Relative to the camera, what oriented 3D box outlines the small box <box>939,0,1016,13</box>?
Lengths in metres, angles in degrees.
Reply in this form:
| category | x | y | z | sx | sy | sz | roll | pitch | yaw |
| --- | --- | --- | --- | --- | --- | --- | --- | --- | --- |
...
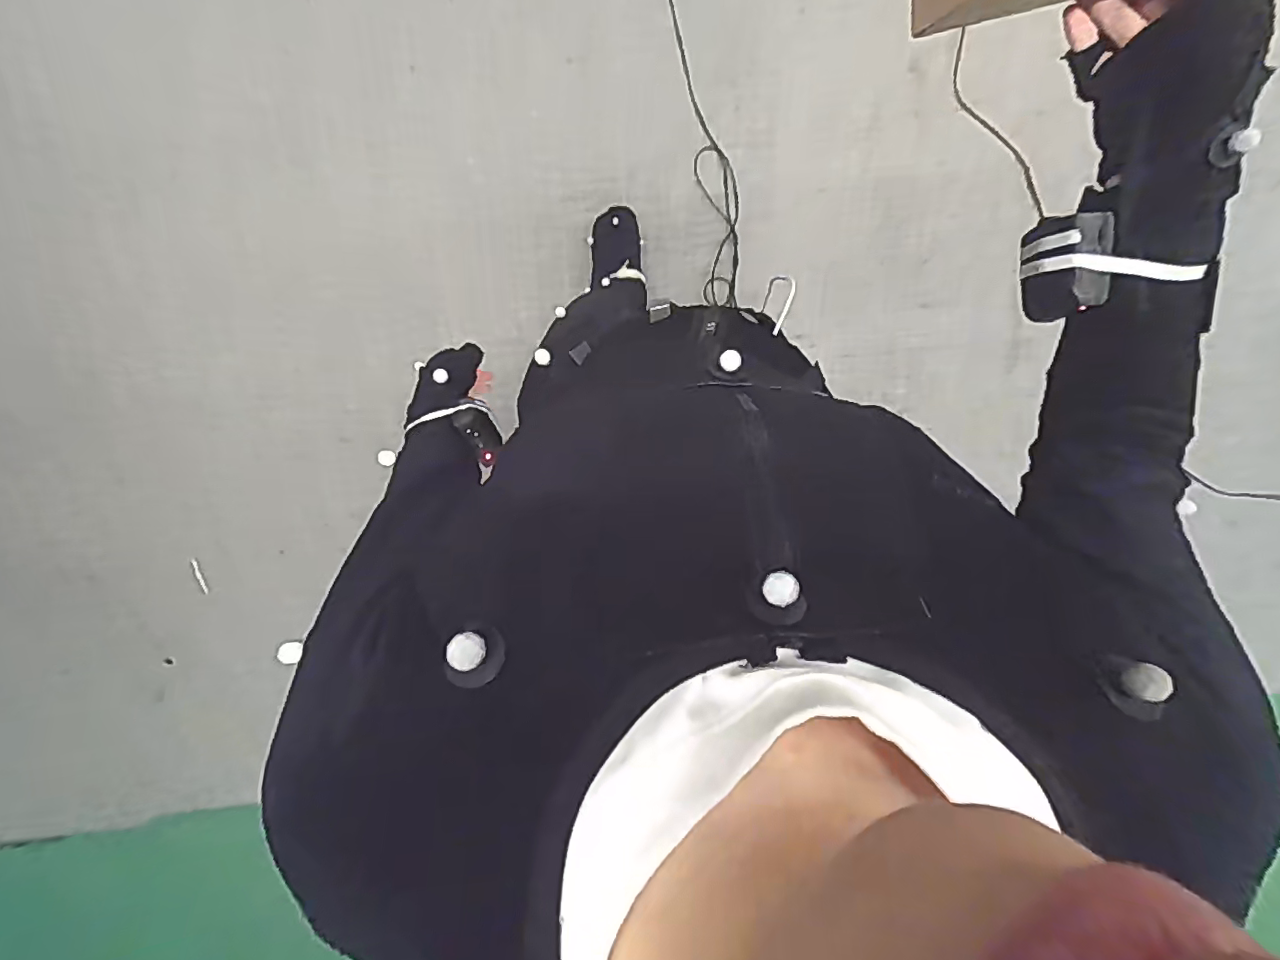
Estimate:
| category | x | y | z | sx | sy | sz | roll | pitch | yaw |
| --- | --- | --- | --- | --- | --- | --- | --- | --- | --- |
| small box | 0.291 | -0.421 | 0.322 | 0.168 | 0.176 | 0.179 | -13 | 114 | 0 |
